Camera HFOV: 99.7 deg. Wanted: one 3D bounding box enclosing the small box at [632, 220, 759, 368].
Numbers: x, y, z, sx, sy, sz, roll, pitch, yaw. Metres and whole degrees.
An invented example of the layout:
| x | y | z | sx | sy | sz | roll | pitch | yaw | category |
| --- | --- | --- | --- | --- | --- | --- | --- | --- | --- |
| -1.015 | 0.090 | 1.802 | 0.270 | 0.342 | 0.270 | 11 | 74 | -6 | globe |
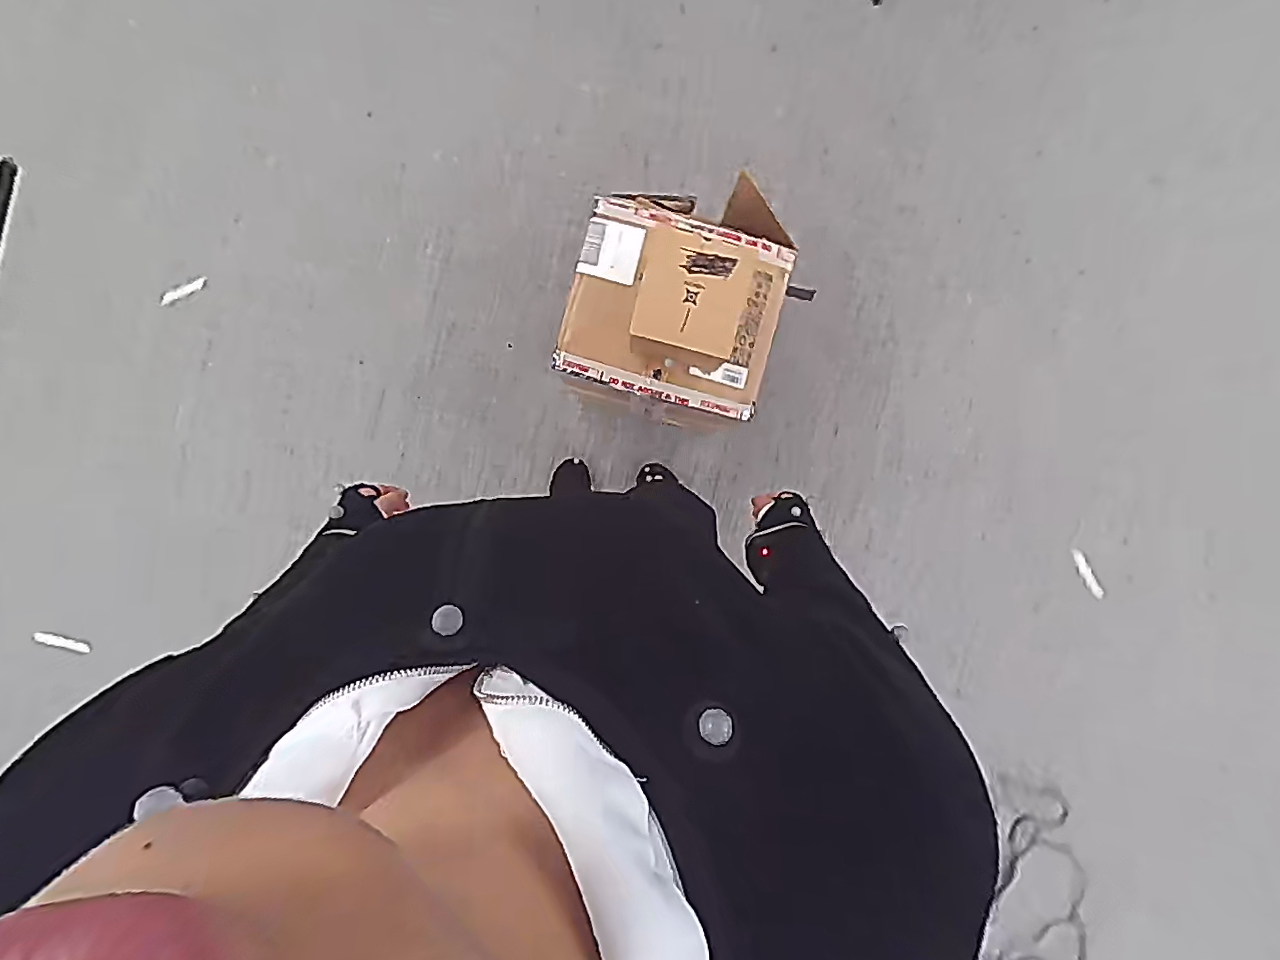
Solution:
| x | y | z | sx | sy | sz | roll | pitch | yaw | category |
| --- | --- | --- | --- | --- | --- | --- | --- | --- | --- |
| 0.084 | -0.303 | 0.918 | 0.168 | 0.176 | 0.179 | 15 | 95 | -2 | small box |
